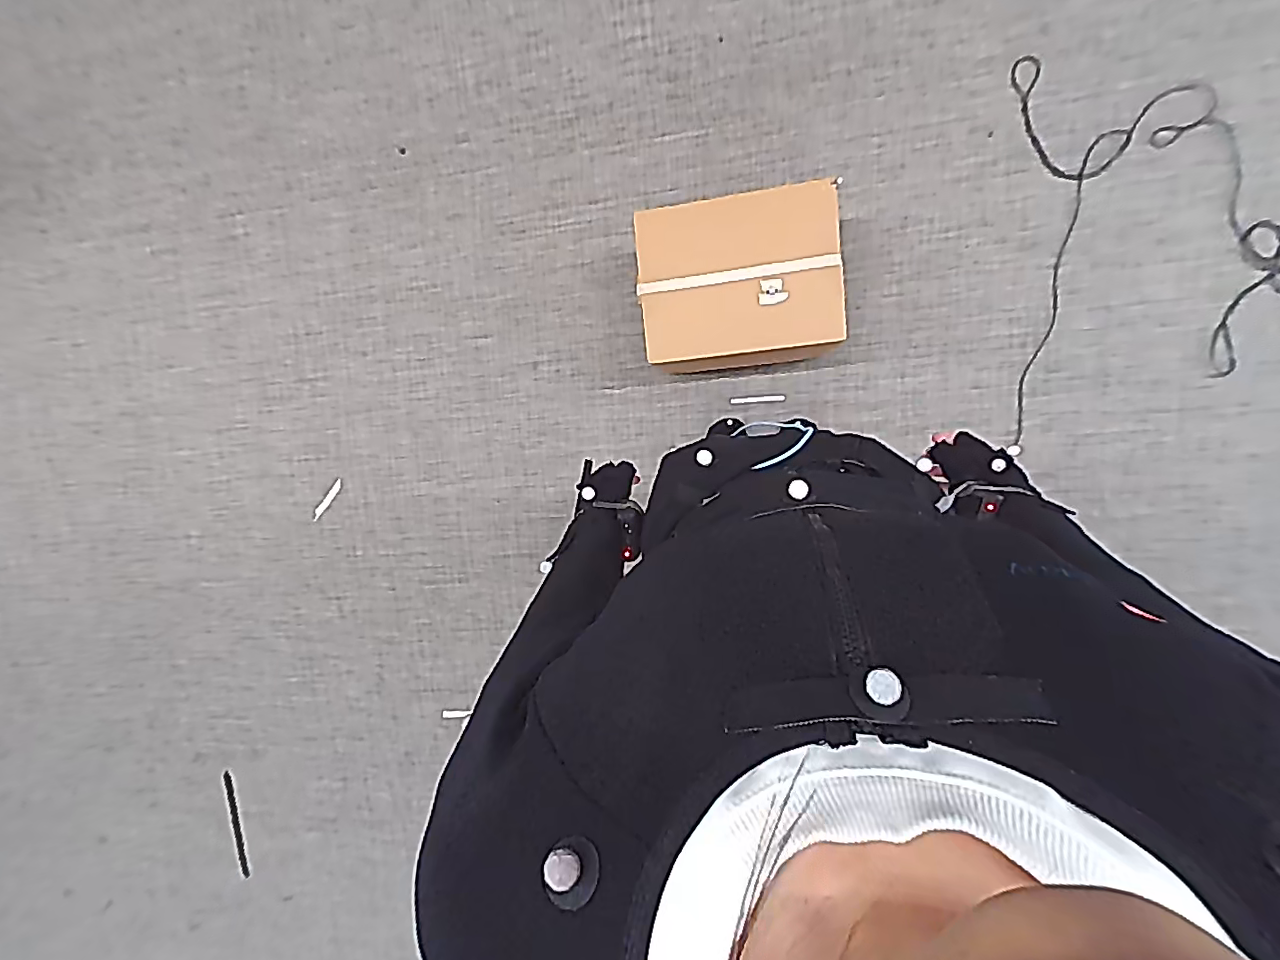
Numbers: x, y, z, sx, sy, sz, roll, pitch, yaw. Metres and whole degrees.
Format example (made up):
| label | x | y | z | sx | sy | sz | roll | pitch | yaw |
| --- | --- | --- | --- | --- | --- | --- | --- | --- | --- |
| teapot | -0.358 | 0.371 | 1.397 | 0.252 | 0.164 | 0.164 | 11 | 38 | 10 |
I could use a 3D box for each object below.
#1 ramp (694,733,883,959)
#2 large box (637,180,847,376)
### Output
| label | x | y | z | sx | sy | sz | roll | pitch | yaw |
| --- | --- | --- | --- | --- | --- | --- | --- | --- | --- |
| ramp | 0.394 | 1.213 | 1.461 | 0.509 | 0.206 | 0.991 | -2 | 95 | 12 |
| large box | 0.228 | -0.431 | 1.248 | 0.408 | 0.320 | 0.320 | -5 | 96 | 10 |
